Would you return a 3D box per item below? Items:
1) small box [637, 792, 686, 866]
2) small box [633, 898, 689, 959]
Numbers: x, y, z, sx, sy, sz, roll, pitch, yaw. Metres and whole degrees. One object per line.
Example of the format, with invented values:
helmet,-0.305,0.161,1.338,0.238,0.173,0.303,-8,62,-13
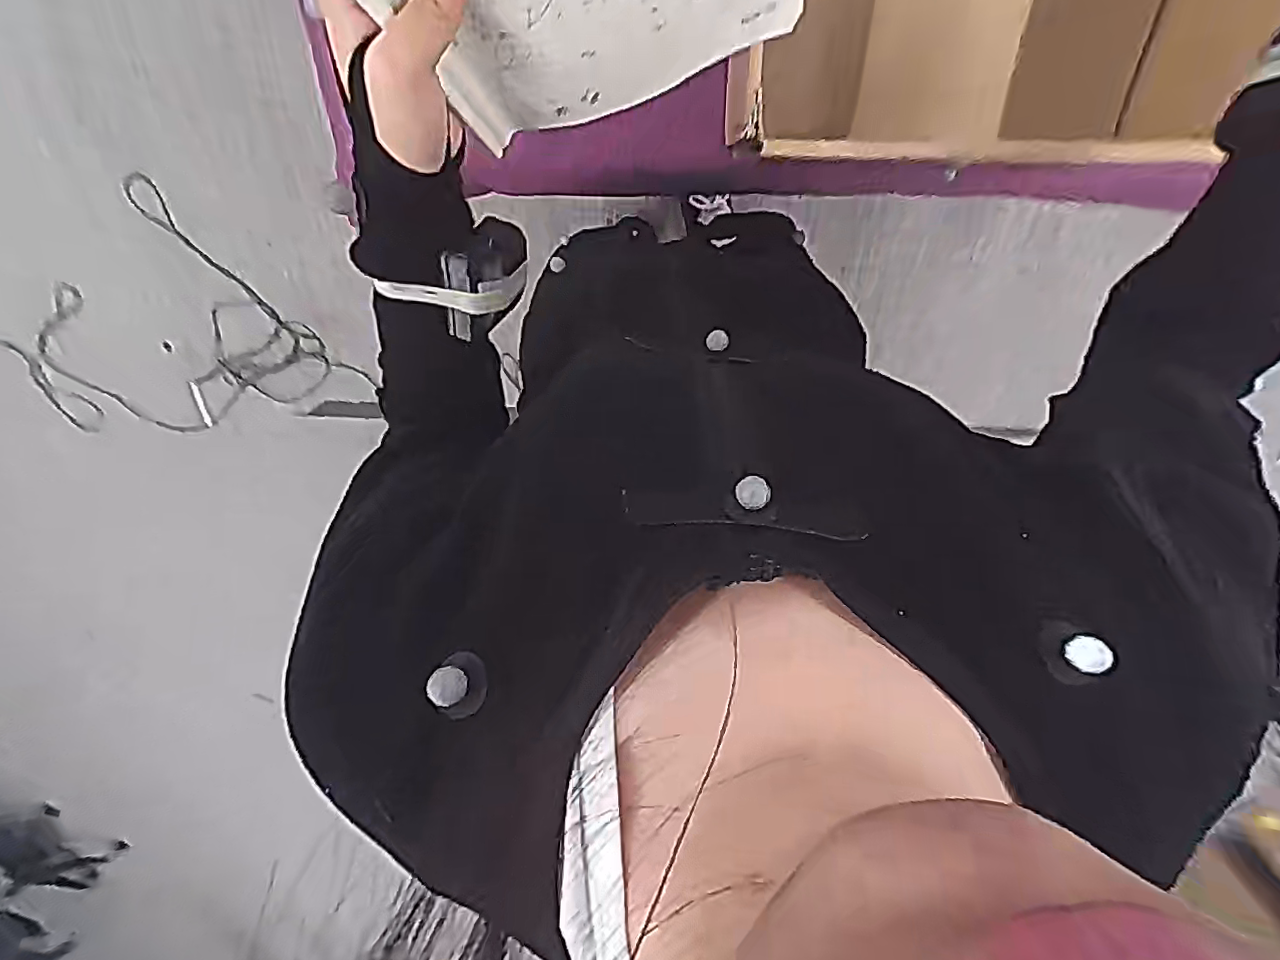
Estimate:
small box,0.075,1.232,1.915,0.168,0.176,0.179,-1,121,2
small box,0.061,1.400,1.632,0.168,0.176,0.179,0,120,0
